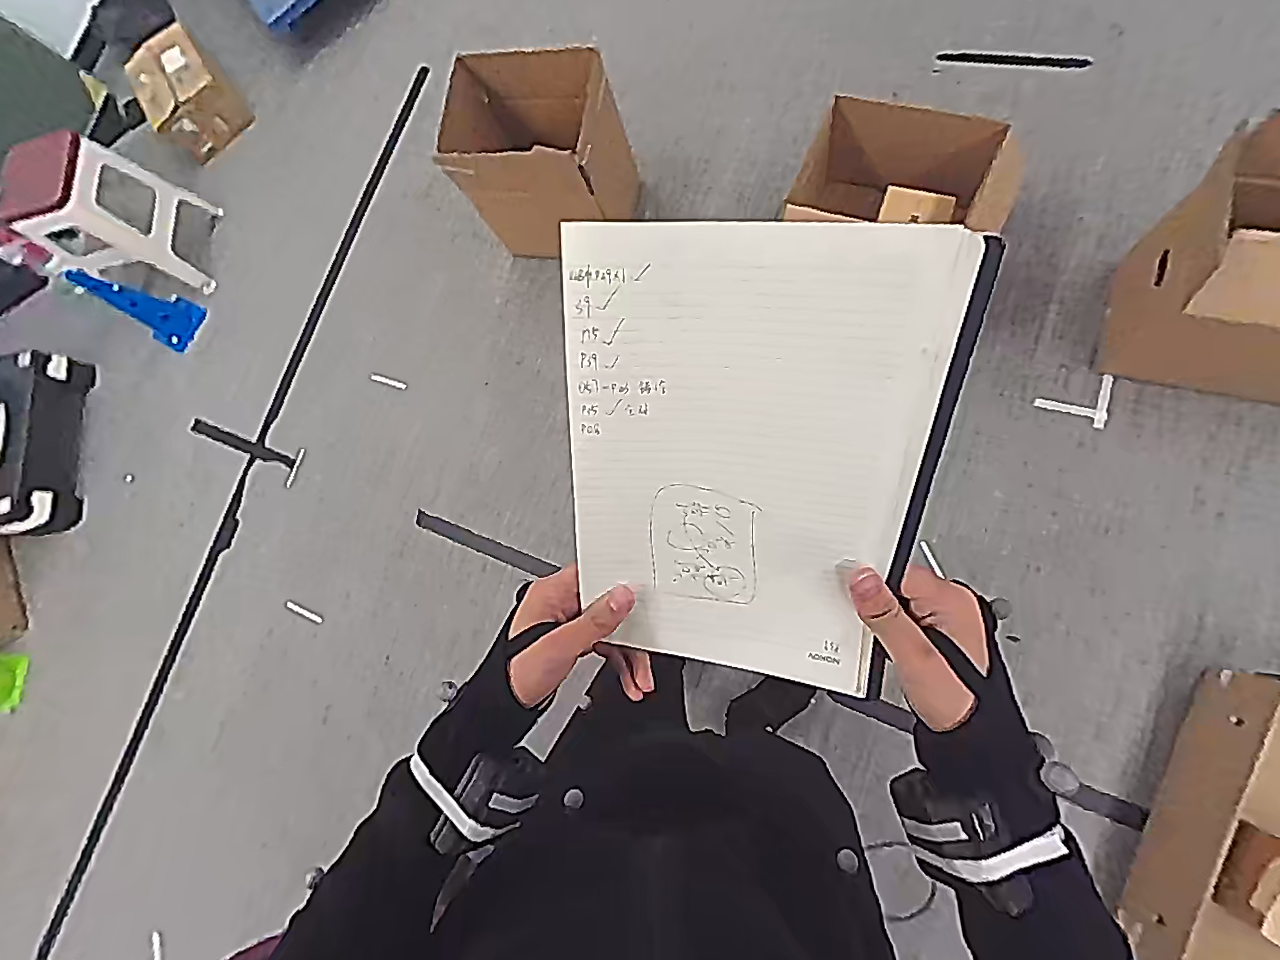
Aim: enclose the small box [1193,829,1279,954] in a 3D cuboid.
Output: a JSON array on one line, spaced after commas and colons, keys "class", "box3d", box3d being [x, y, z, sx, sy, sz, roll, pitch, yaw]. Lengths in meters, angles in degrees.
[{"class": "small box", "box3d": [1.178, 0.772, 0.973, 0.179, 0.176, 0.168, 33, 88, 18]}]
